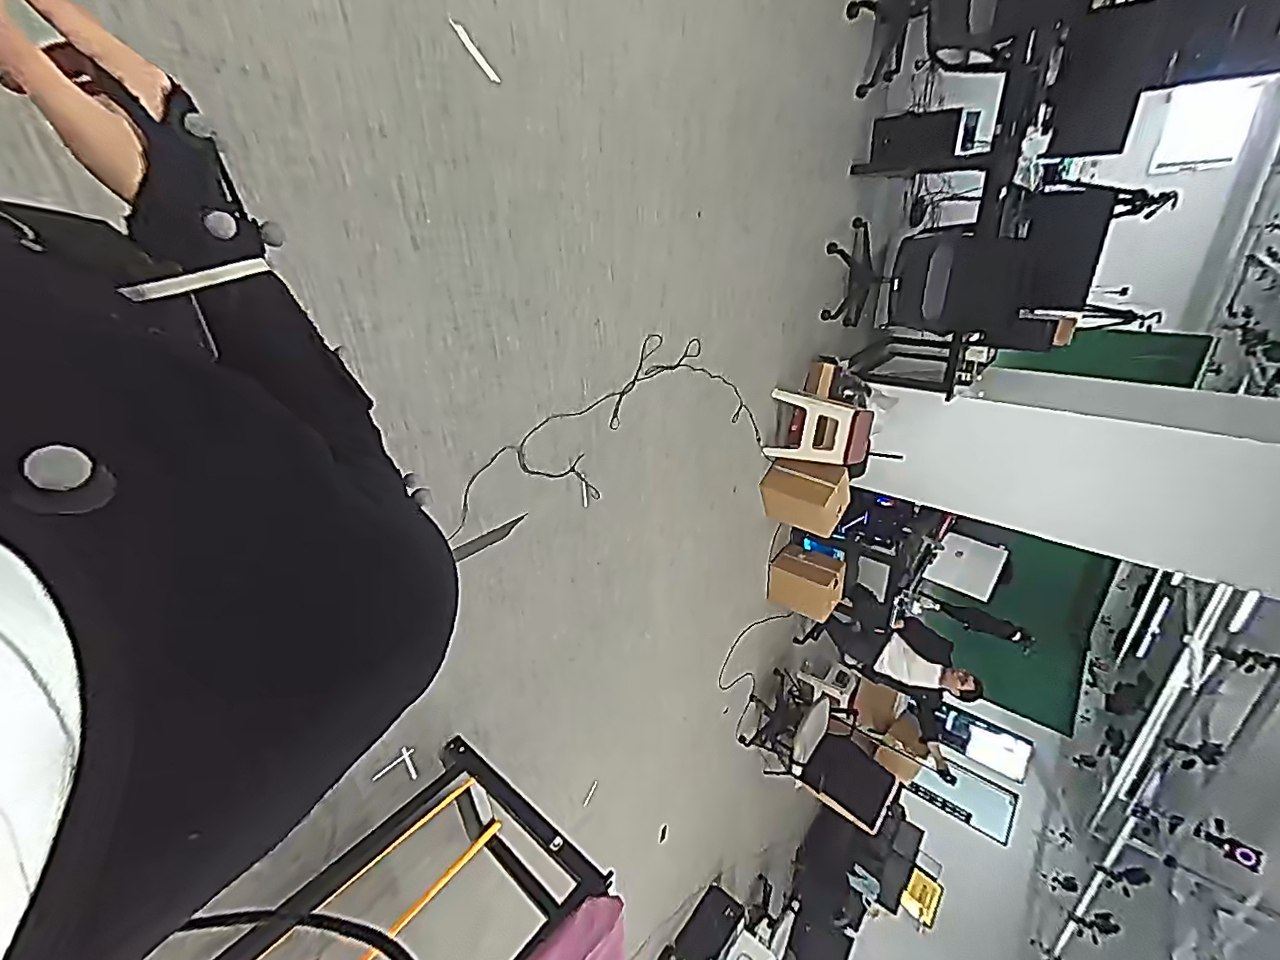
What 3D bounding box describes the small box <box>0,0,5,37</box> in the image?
[{"bbox_3d":[-0.410,-0.310,0.222,0.179,0.176,0.168,-13,122,-46],"label":"small box"}]
